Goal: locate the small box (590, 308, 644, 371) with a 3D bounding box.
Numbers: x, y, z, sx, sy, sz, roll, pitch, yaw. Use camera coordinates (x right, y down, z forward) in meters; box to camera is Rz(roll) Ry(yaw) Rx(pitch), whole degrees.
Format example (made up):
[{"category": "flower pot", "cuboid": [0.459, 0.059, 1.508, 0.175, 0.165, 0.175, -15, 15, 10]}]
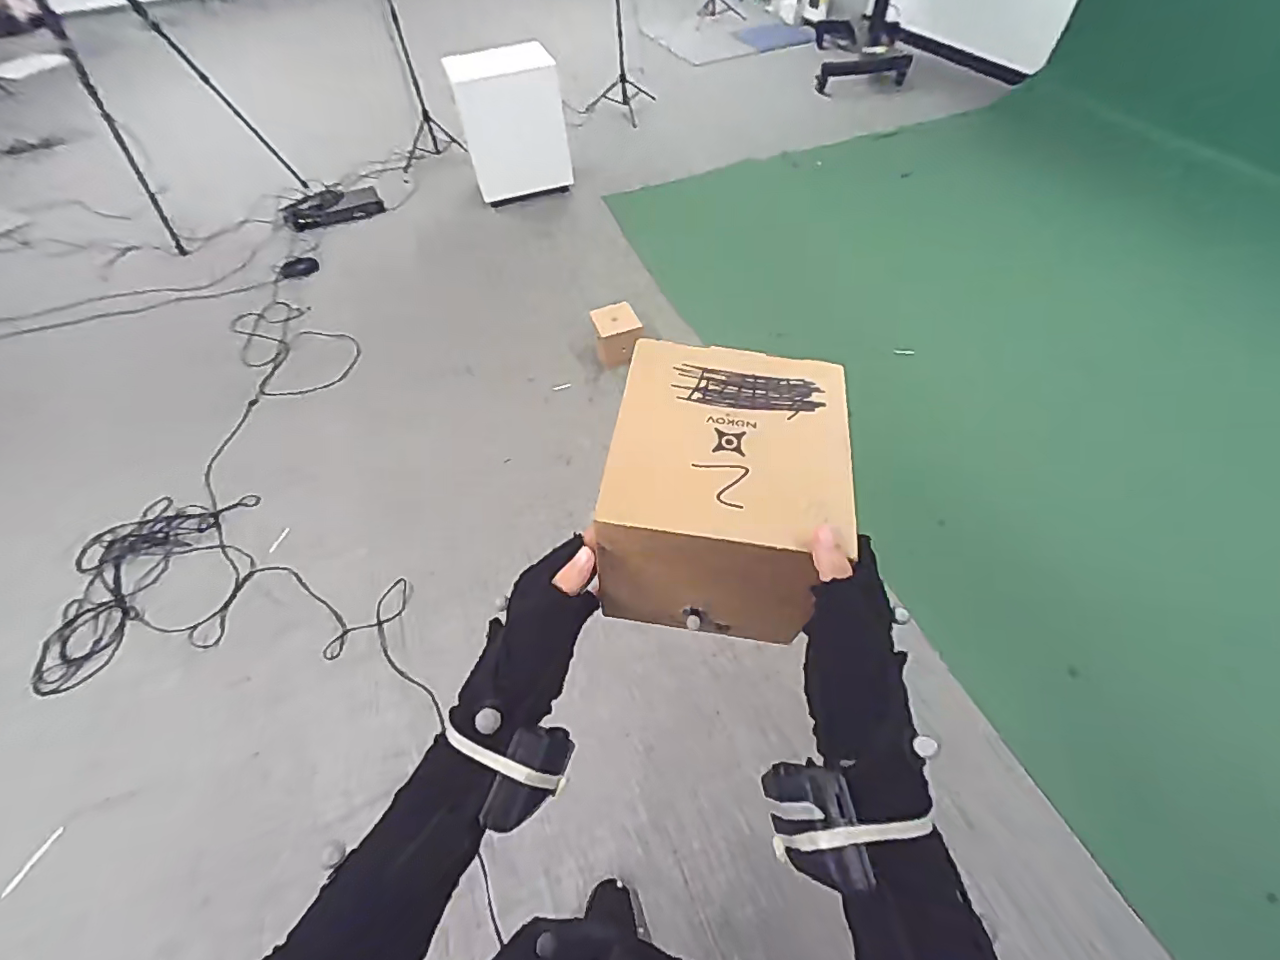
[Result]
[{"category": "small box", "cuboid": [-0.089, -0.556, 2.169, 0.168, 0.176, 0.179, -18, 54, -11]}]
